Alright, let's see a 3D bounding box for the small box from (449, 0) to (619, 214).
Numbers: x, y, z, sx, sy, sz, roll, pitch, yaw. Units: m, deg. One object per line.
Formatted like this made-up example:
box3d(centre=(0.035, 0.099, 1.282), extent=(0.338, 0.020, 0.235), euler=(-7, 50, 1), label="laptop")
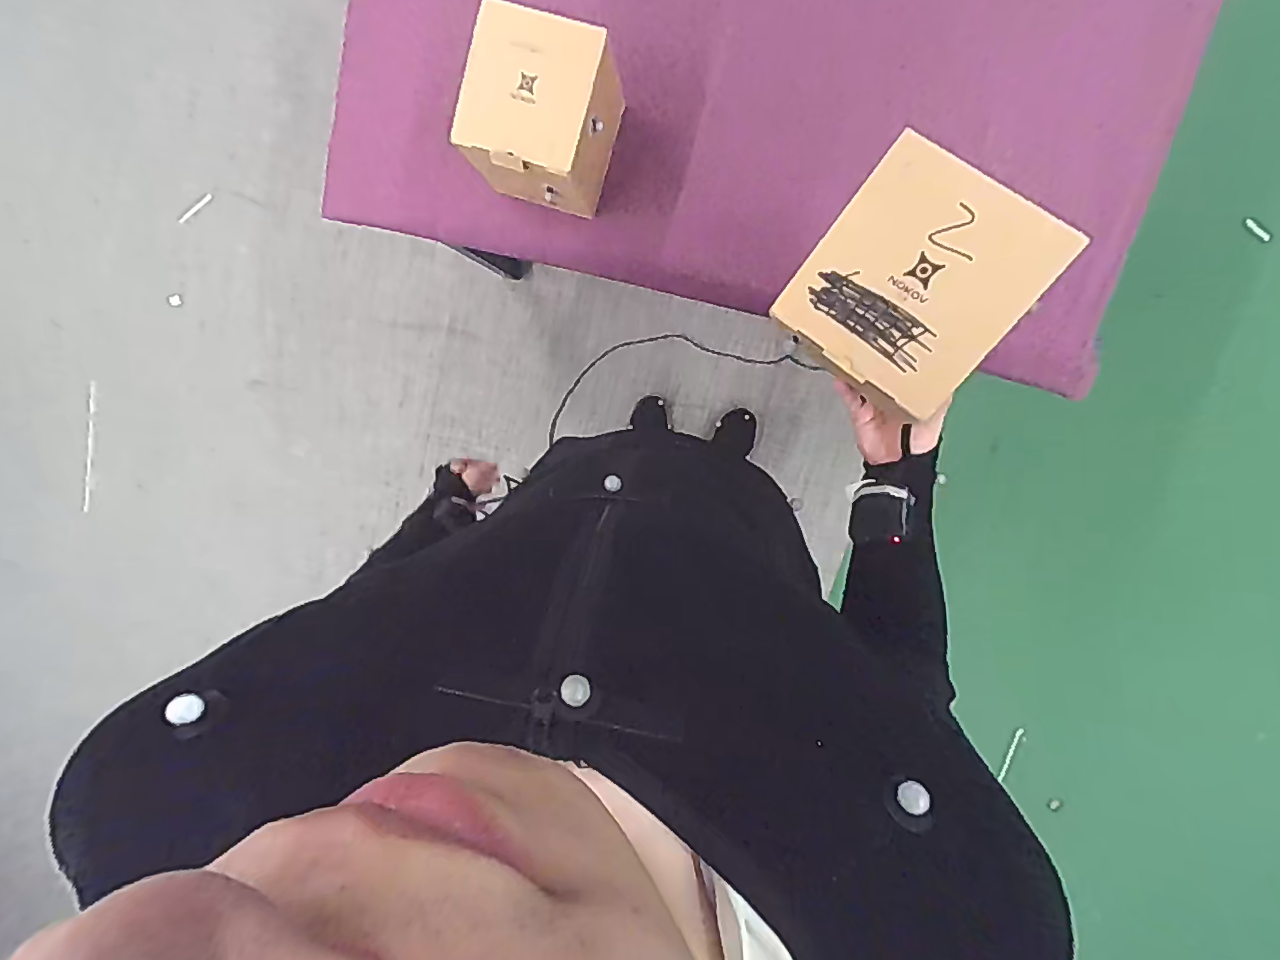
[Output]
box3d(centre=(-0.135, -0.501, 0.753), extent=(0.168, 0.176, 0.179), euler=(19, 99, 3), label="small box")
